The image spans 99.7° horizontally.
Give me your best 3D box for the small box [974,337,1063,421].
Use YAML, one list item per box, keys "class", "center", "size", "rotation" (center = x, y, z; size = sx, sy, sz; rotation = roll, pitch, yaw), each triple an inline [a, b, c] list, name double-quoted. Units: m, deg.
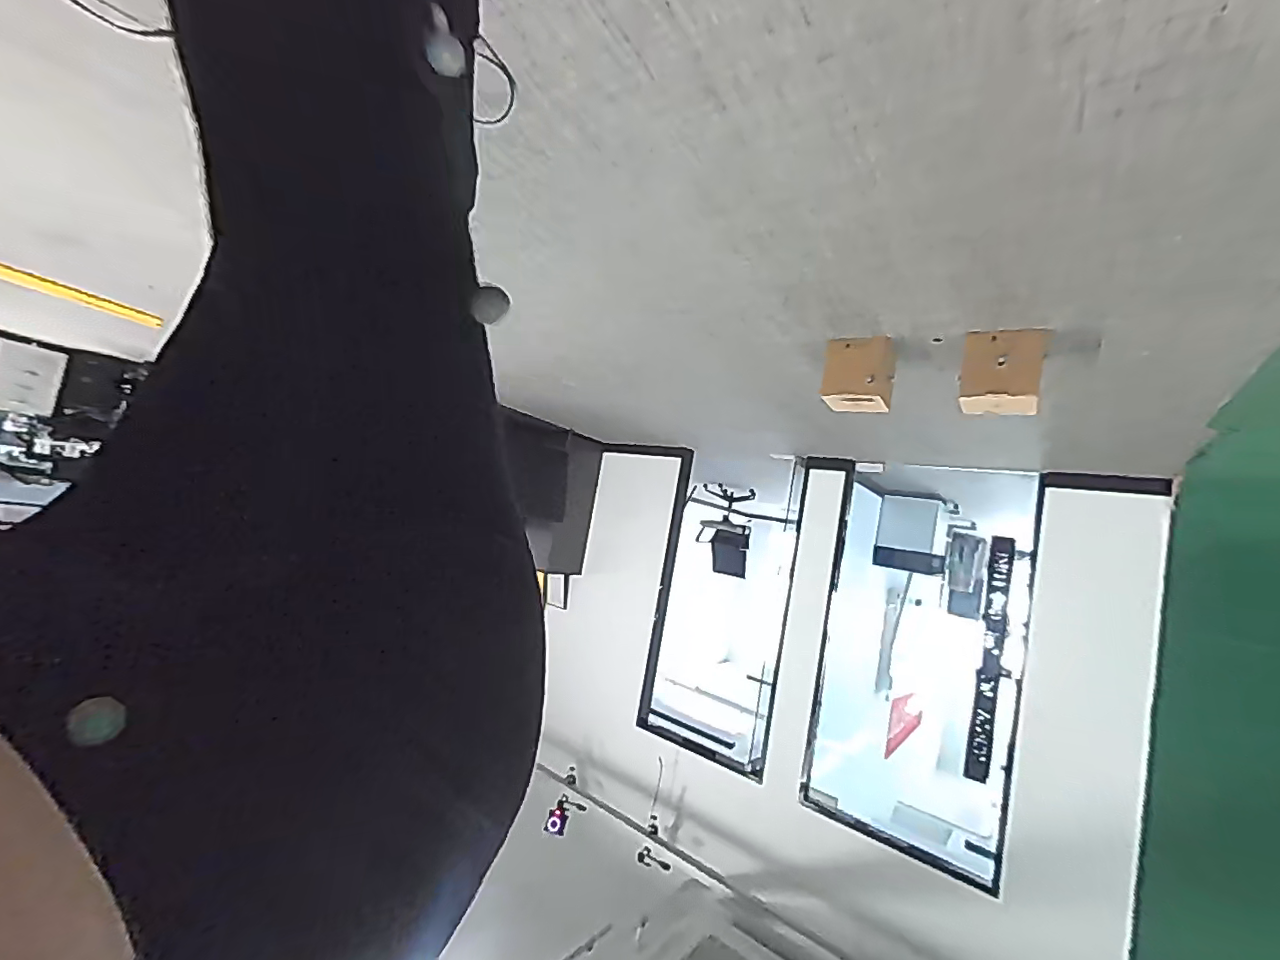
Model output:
- class: "small box"
  center: [0.946, -0.252, 1.355]
  size: [0.168, 0.176, 0.179]
  rotation: [7, 174, 36]
